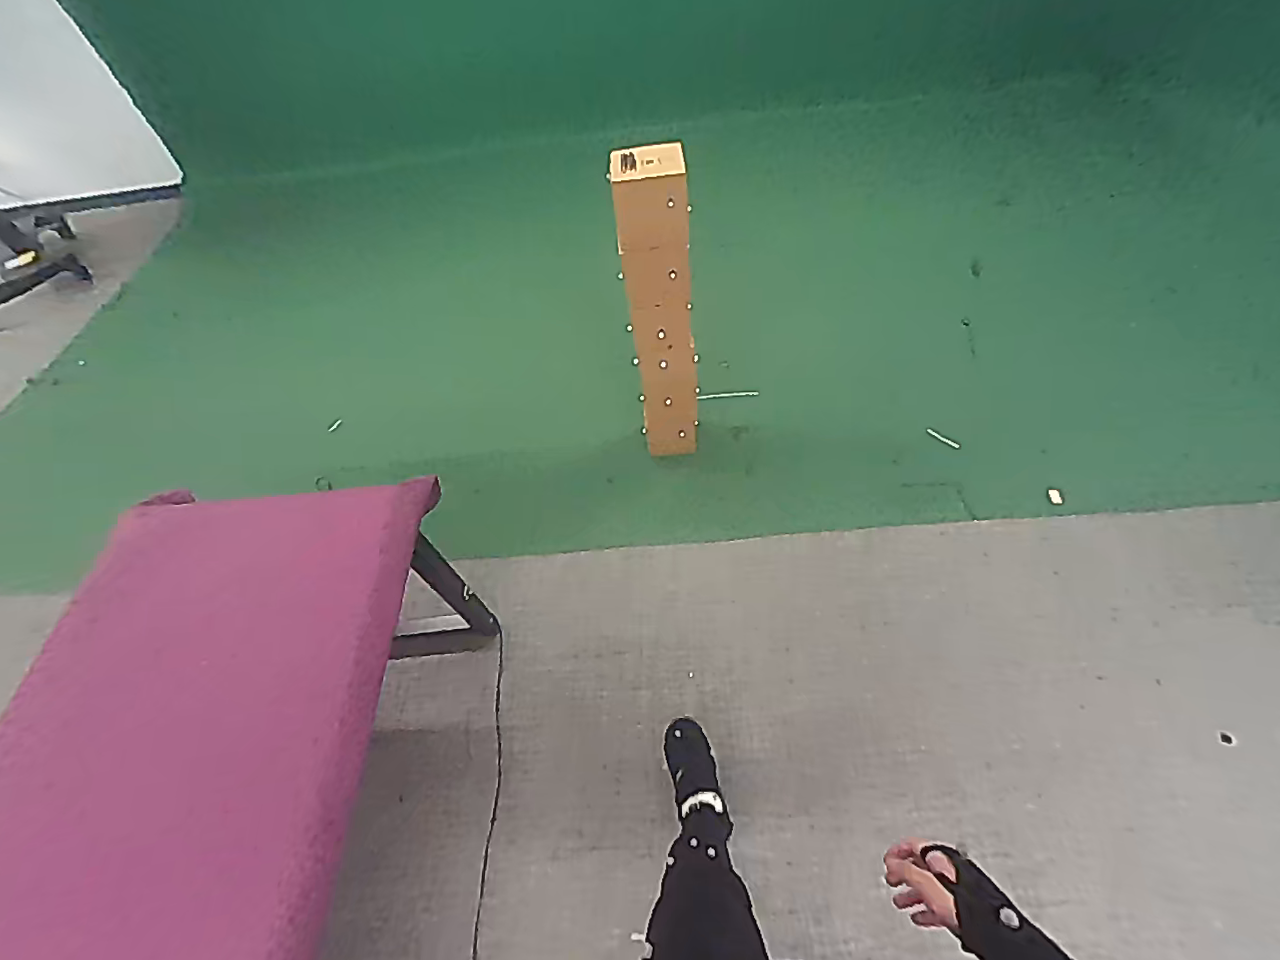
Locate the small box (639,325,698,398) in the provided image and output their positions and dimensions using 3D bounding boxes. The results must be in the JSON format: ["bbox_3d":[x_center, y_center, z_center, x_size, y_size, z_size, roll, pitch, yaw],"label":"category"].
[{"bbox_3d":[0.088,-0.382,1.730,0.179,0.176,0.168,-8,54,1],"label":"small box"}]

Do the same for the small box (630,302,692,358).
[{"bbox_3d":[0.061,-0.478,1.600,0.168,0.176,0.179,-7,54,3],"label":"small box"}]

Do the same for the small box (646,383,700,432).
[{"bbox_3d":[0.110,-0.284,1.859,0.179,0.176,0.168,-8,53,3],"label":"small box"}]

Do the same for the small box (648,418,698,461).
[{"bbox_3d":[0.122,-0.186,1.988,0.179,0.176,0.168,-5,53,5],"label":"small box"}]

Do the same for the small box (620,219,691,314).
[{"bbox_3d":[0.045,-0.576,1.470,0.179,0.176,0.168,-7,52,4],"label":"small box"}]
